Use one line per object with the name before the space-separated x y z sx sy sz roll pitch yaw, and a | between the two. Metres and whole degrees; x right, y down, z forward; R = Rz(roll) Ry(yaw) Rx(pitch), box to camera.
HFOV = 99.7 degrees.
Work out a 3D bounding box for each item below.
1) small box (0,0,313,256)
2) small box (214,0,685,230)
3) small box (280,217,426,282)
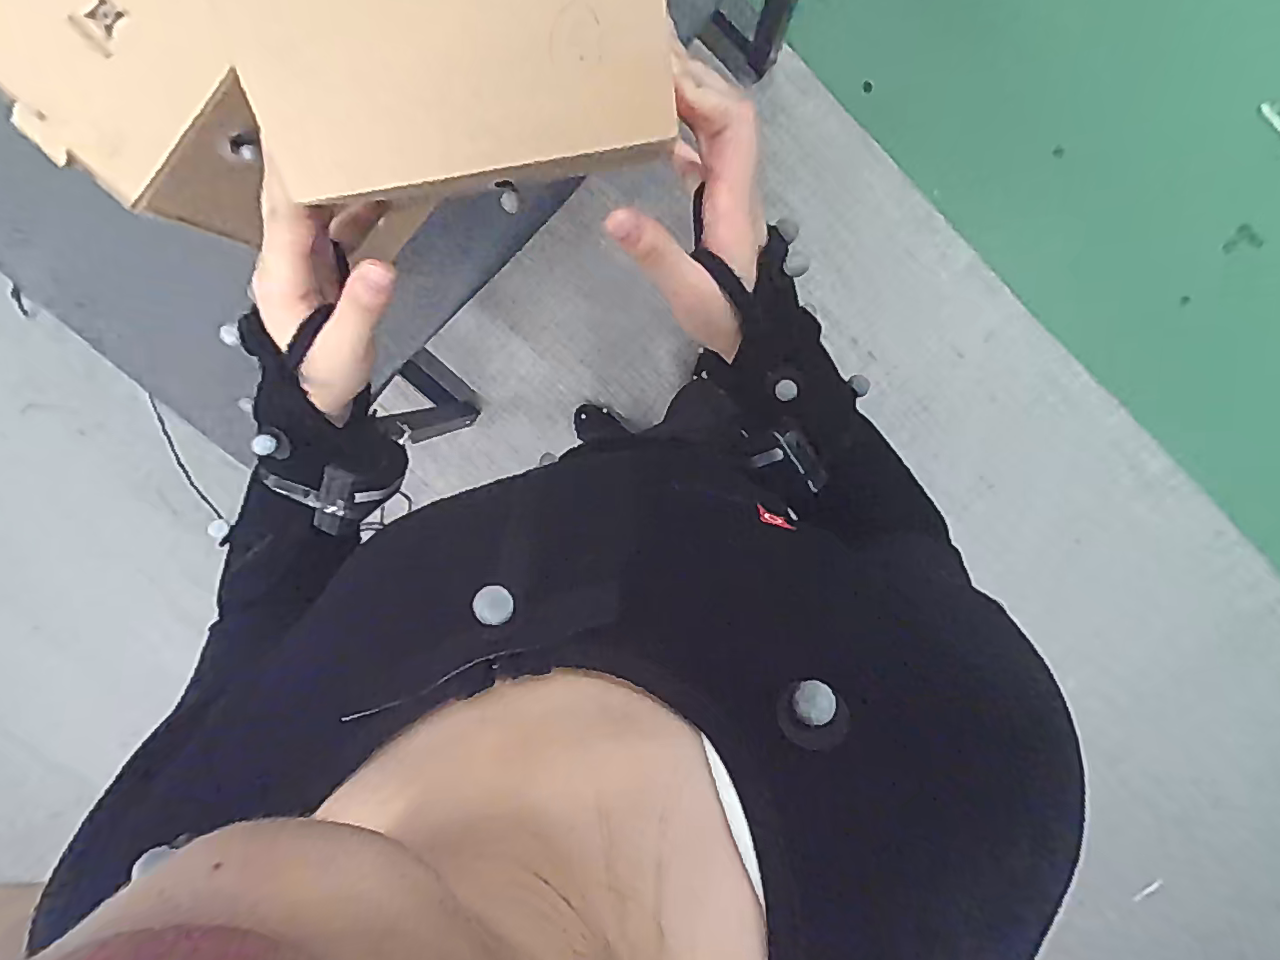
small box | -0.355 -0.314 0.438 0.168 0.176 0.179 43 99 -7
small box | -0.075 -0.229 0.253 0.168 0.176 0.179 -9 118 1
small box | -0.349 -0.349 0.596 0.168 0.176 0.179 43 101 -6
